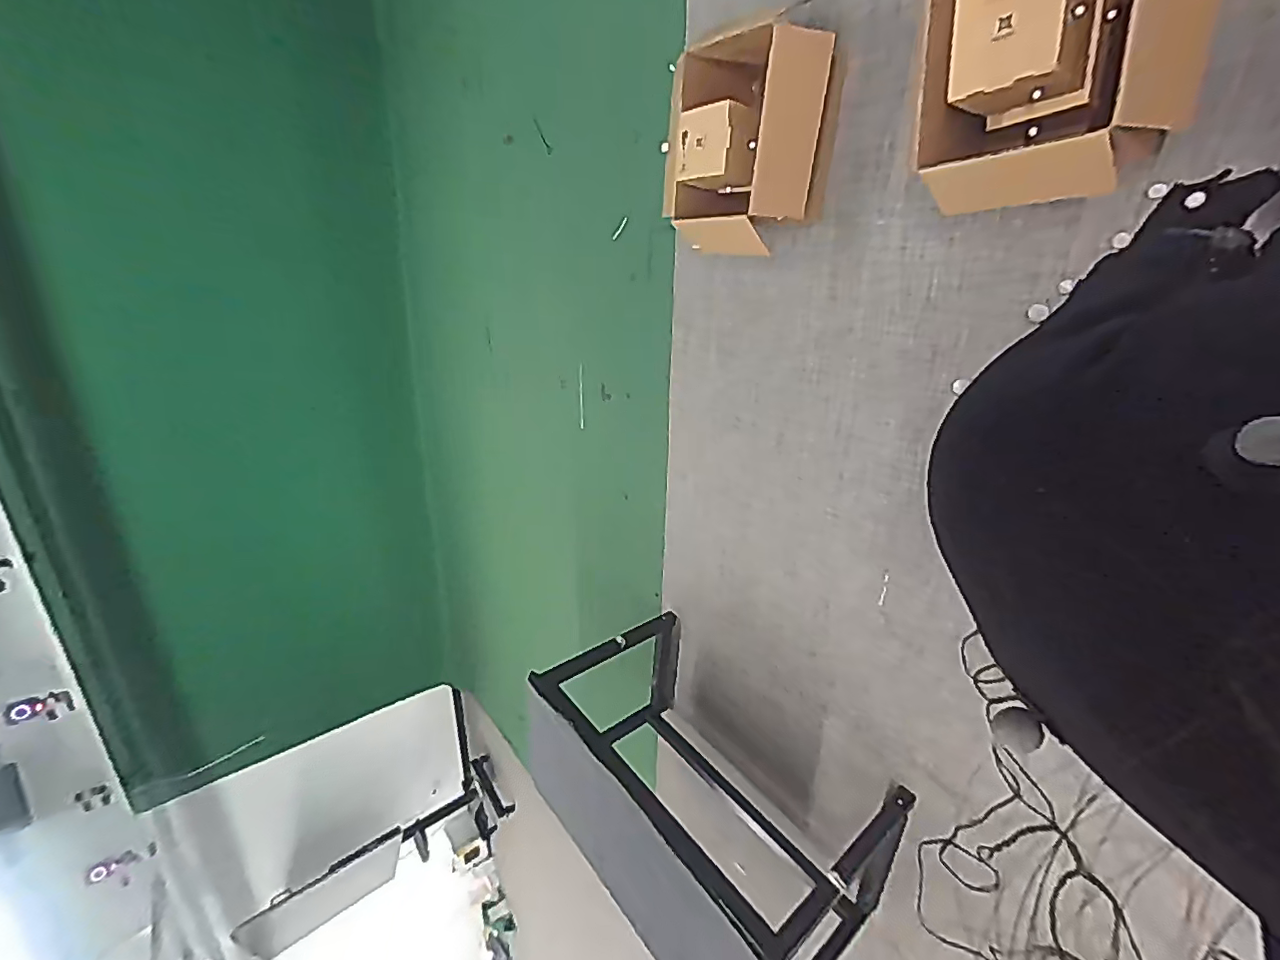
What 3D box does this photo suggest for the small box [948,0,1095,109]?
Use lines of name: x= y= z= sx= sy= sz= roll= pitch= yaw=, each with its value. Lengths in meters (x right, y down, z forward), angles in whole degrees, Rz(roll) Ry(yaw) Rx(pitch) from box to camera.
small box: x=0.663 y=-0.773 z=0.940 sx=0.168 sy=0.176 sz=0.179 roll=15 pitch=116 yaw=48
